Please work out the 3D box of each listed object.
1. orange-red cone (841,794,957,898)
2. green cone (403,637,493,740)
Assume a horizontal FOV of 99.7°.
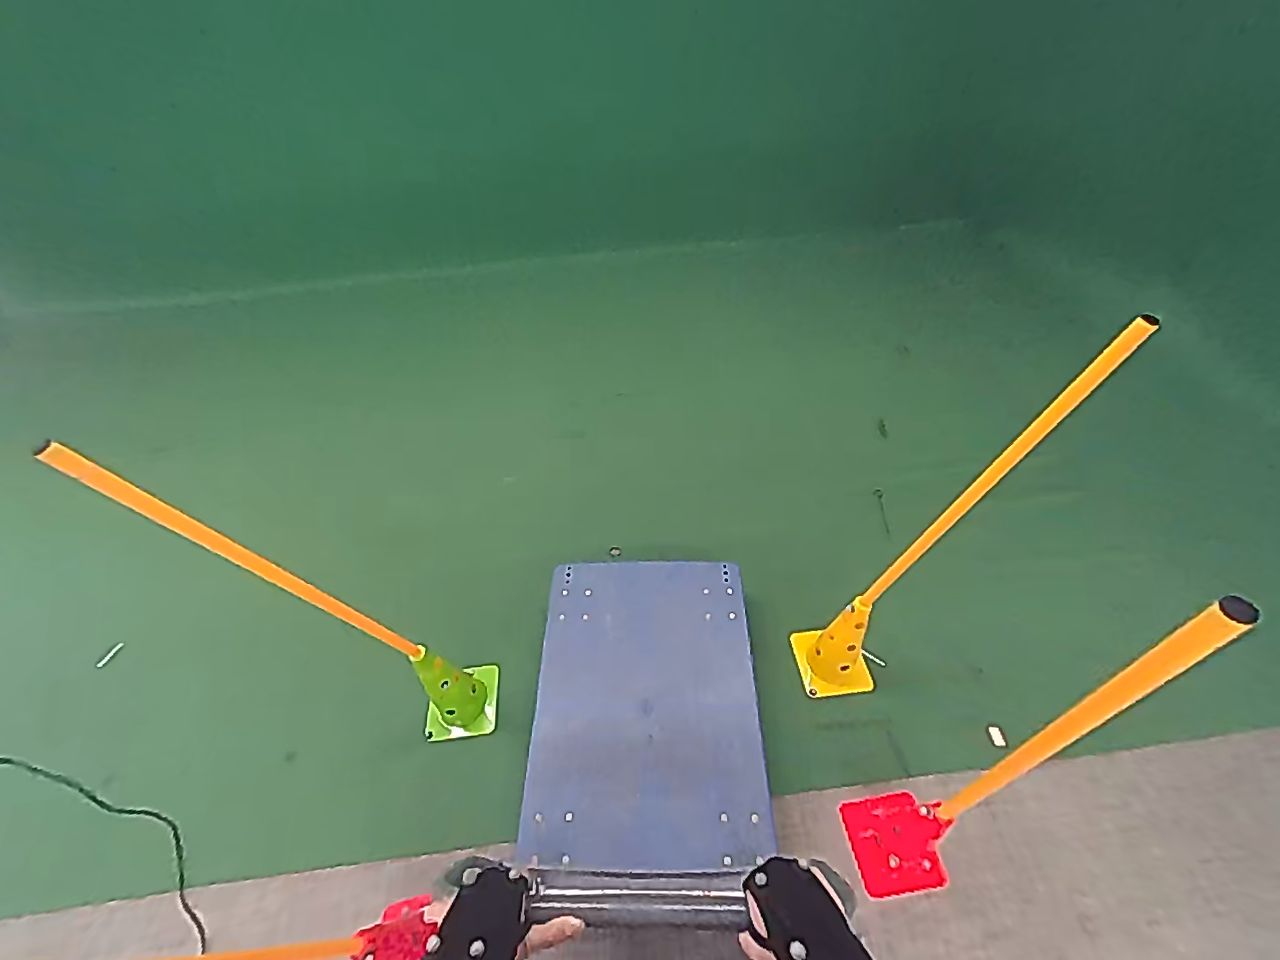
[{"bbox_3d":[0.597,0.756,1.172,0.198,0.360,0.199,-6,47,-3],"label":"orange-red cone"},{"bbox_3d":[-0.539,0.524,1.439,0.200,0.368,0.202,-7,47,-2],"label":"green cone"}]
